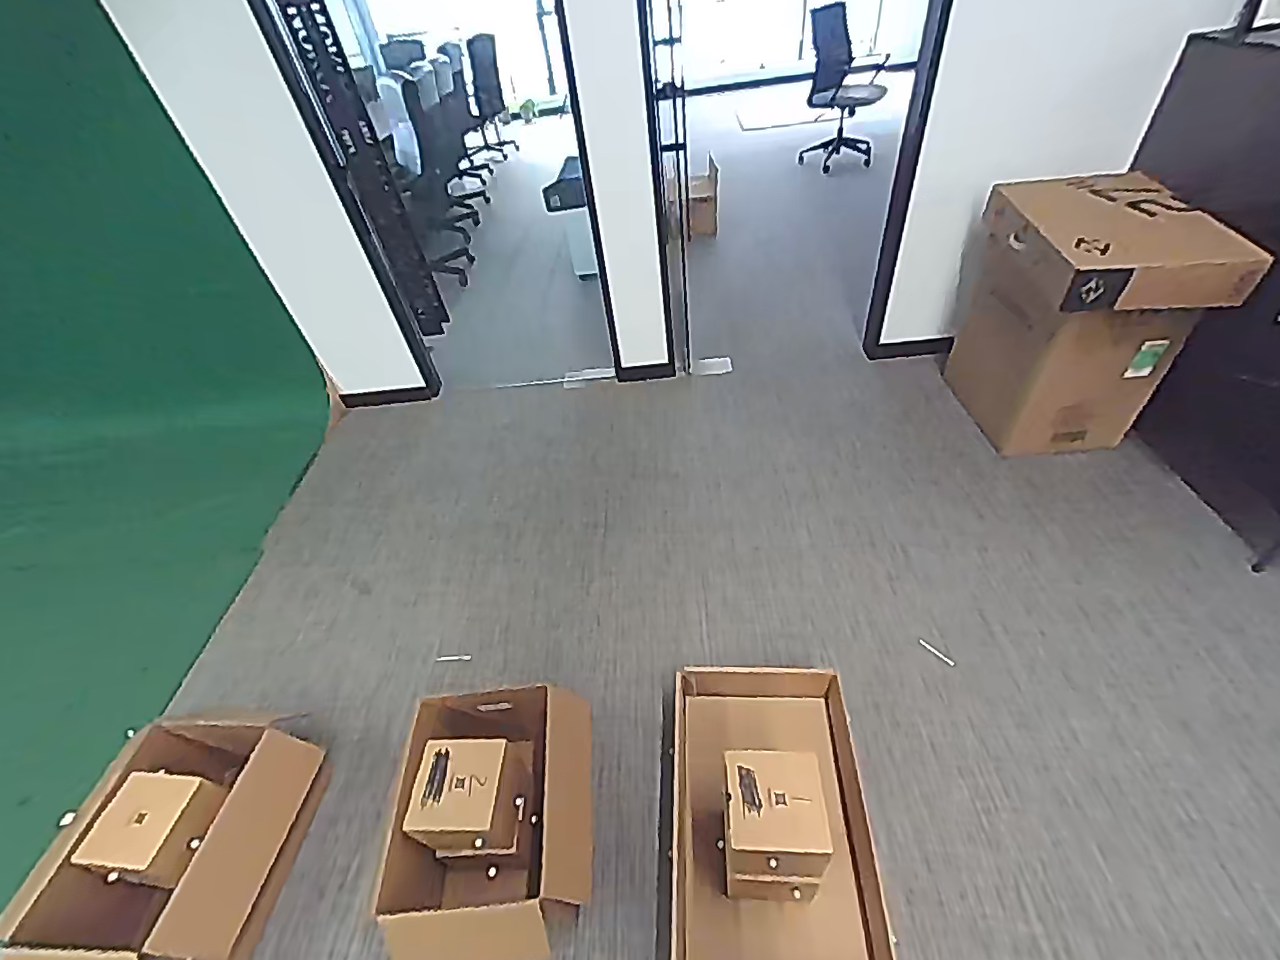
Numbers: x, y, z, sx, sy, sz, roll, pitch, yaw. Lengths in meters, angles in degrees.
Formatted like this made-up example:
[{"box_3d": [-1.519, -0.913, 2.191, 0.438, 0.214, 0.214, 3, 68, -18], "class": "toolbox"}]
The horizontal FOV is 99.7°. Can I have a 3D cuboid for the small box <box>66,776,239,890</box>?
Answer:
[{"box_3d": [-1.013, 0.750, 1.145, 0.179, 0.176, 0.168, 0, 43, 7], "class": "small box"}]

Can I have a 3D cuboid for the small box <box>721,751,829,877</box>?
[{"box_3d": [0.247, 0.637, 1.032, 0.179, 0.176, 0.168, -1, 42, 5], "class": "small box"}]
